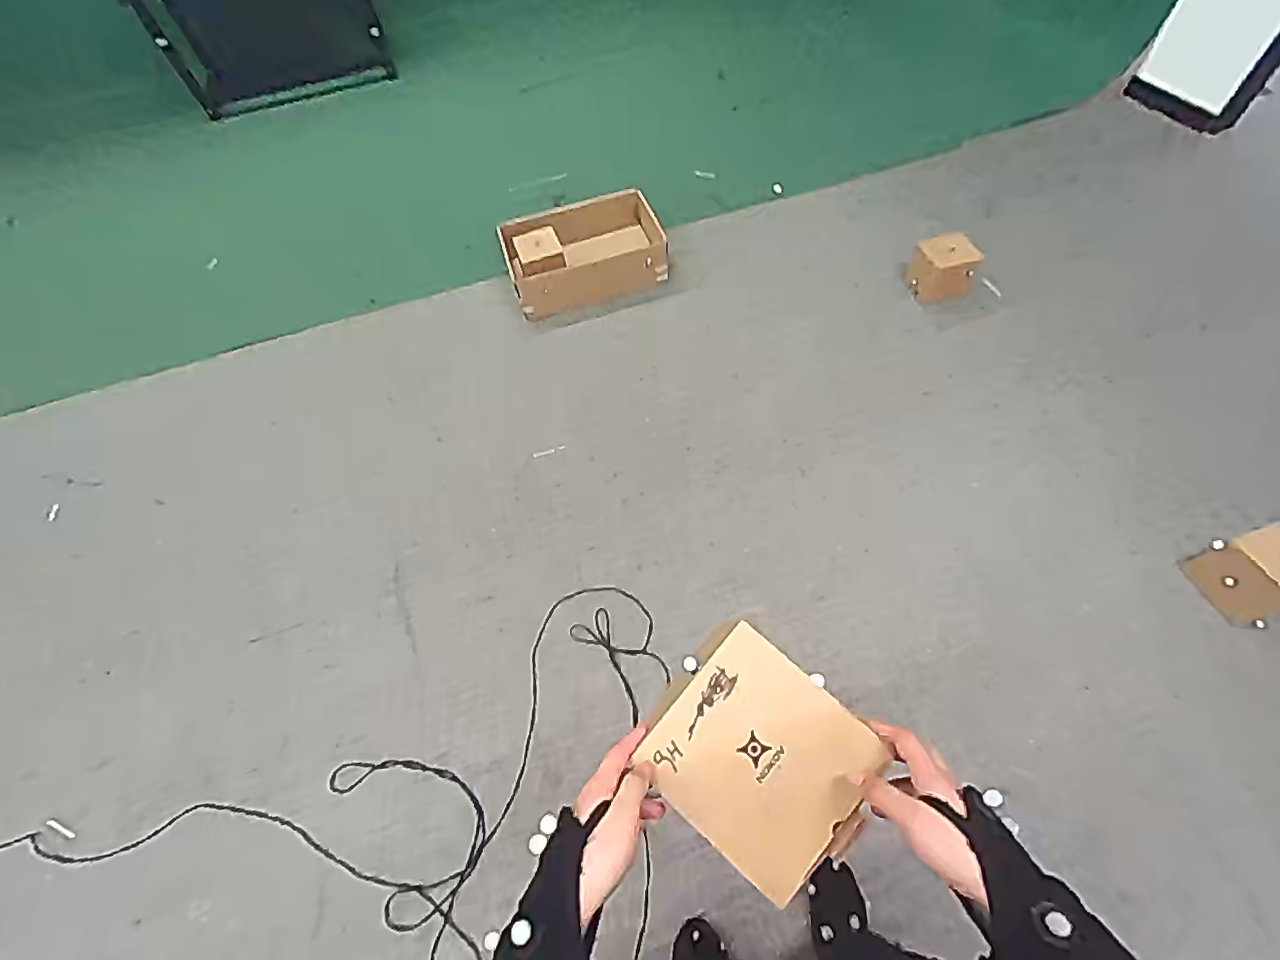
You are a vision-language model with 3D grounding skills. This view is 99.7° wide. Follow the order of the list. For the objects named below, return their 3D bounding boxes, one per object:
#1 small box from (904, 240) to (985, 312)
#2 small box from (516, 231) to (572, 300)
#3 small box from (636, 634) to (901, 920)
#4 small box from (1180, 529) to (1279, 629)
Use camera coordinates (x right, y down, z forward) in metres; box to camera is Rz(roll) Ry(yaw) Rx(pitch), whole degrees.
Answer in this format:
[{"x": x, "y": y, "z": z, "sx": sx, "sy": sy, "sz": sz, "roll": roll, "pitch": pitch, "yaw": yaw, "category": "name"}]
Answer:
[{"x": 1.115, "y": -0.752, "z": 1.997, "sx": 0.179, "sy": 0.176, "sz": 0.168, "roll": -13, "pitch": 57, "yaw": -2, "category": "small box"}, {"x": -0.380, "y": -0.852, "z": 2.154, "sx": 0.168, "sy": 0.176, "sz": 0.179, "roll": -20, "pitch": 59, "yaw": -7, "category": "small box"}, {"x": 0.116, "y": 0.273, "z": 0.554, "sx": 0.179, "sy": 0.176, "sz": 0.168, "roll": 41, "pitch": 81, "yaw": 11, "category": "small box"}, {"x": 1.514, "y": 0.250, "z": 1.324, "sx": 0.168, "sy": 0.176, "sz": 0.179, "roll": -17, "pitch": 57, "yaw": -5, "category": "small box"}]
